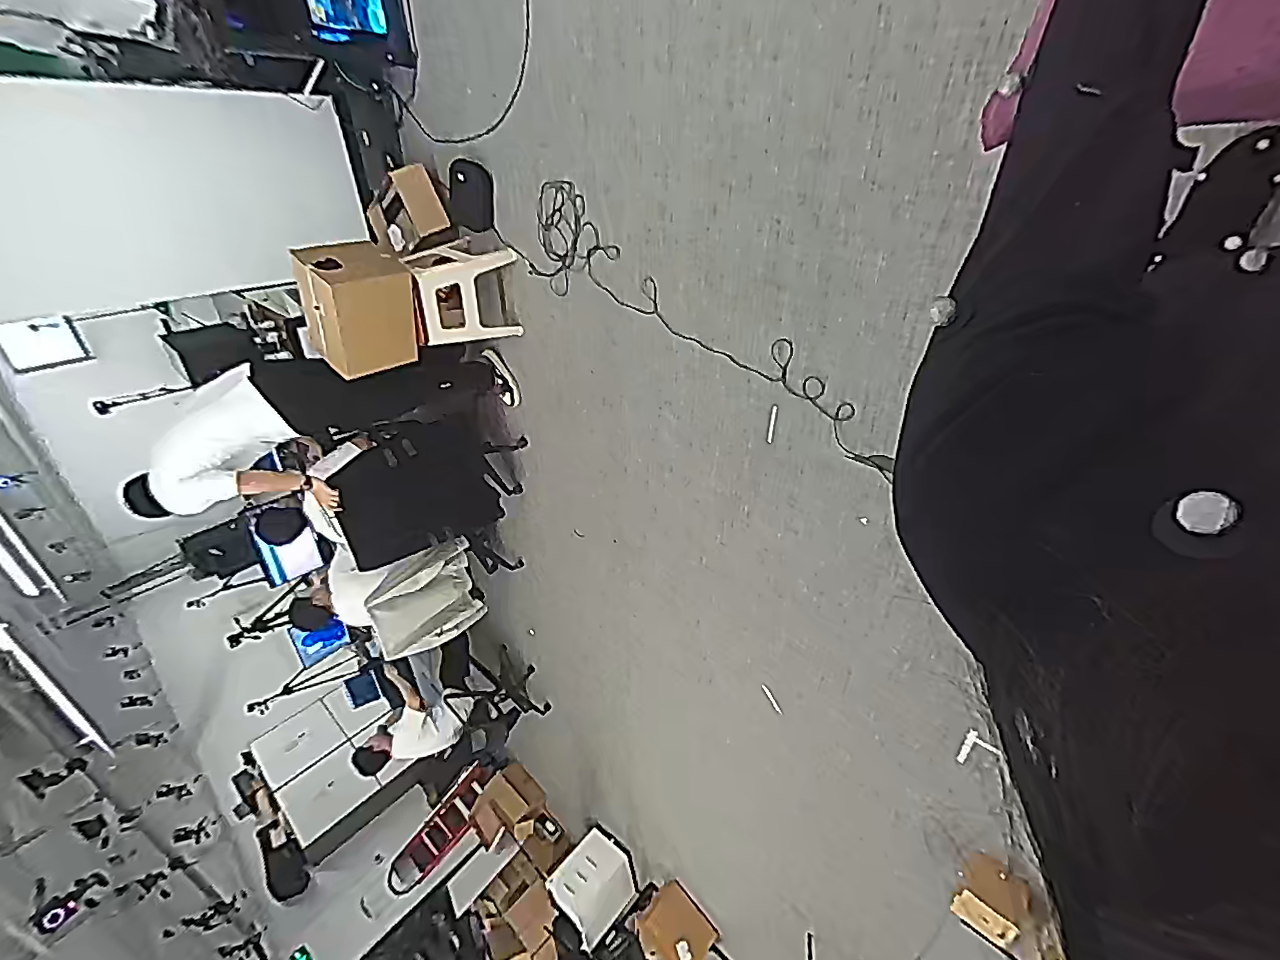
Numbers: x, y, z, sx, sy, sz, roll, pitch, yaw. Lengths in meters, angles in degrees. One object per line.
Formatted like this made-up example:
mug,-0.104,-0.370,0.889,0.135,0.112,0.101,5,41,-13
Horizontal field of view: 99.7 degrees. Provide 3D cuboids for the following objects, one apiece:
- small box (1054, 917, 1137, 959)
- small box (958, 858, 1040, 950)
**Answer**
small box,1.472,1.583,1.750,0.168,0.176,0.179,24,129,35
small box,1.267,1.484,1.908,0.179,0.176,0.168,29,132,33
